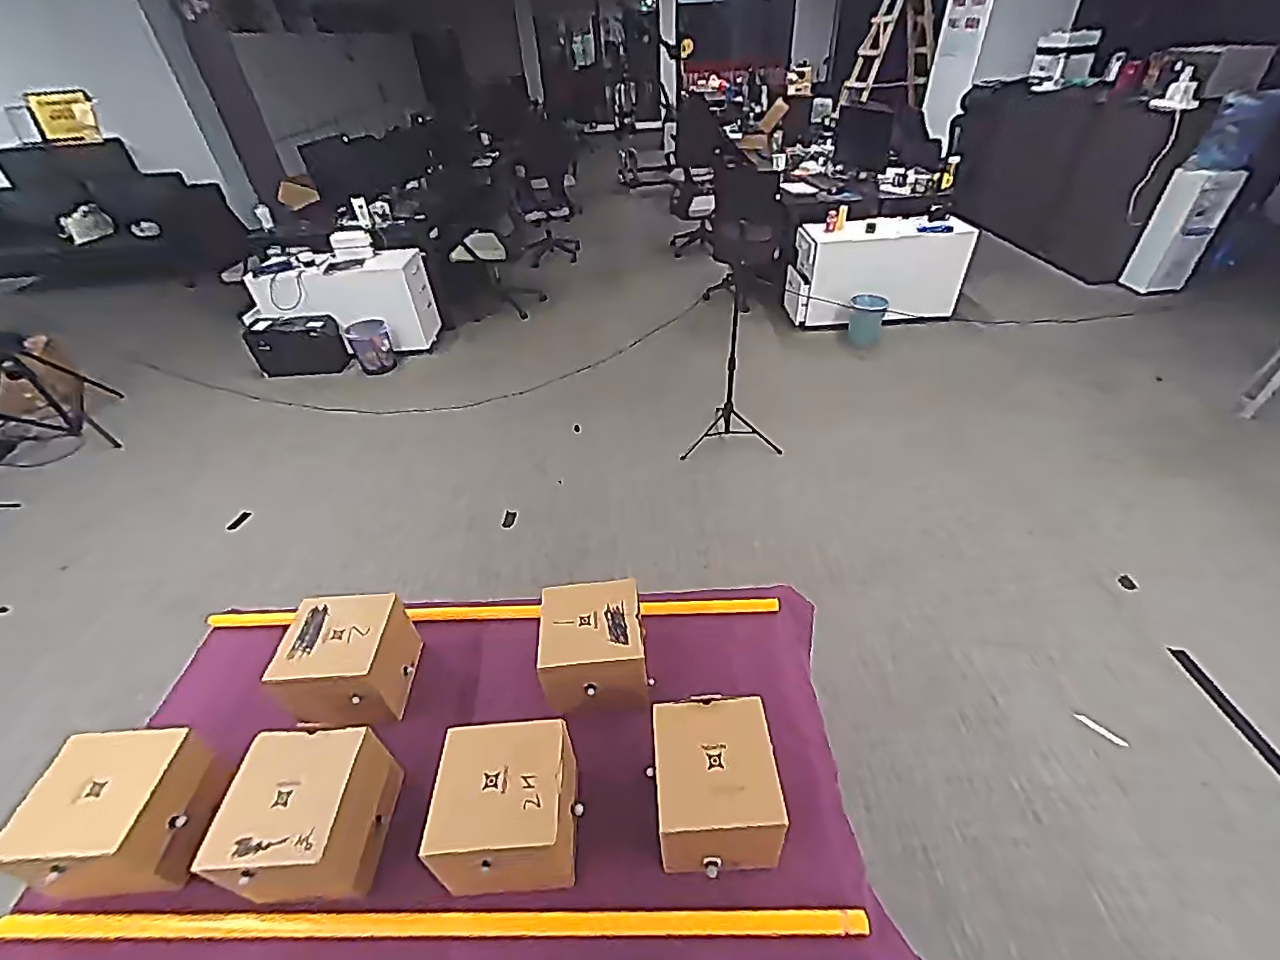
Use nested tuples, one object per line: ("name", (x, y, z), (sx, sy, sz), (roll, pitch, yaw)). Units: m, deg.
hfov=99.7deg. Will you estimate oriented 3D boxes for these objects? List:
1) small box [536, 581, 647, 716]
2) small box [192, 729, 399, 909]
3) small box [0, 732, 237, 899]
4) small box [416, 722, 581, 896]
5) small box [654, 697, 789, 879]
("small box", (-0.080, 0.304, 0.974), (0.179, 0.176, 0.168), (-6, 41, 0))
("small box", (-0.475, 0.489, 0.784), (0.168, 0.176, 0.179), (-4, 39, 2))
("small box", (-0.755, 0.496, 0.800), (0.179, 0.176, 0.168), (-3, 39, -1))
("small box", (-0.188, 0.473, 0.777), (0.179, 0.176, 0.168), (-4, 38, 1))
("small box", (0.108, 0.444, 0.785), (0.168, 0.176, 0.179), (-5, 37, 1))
